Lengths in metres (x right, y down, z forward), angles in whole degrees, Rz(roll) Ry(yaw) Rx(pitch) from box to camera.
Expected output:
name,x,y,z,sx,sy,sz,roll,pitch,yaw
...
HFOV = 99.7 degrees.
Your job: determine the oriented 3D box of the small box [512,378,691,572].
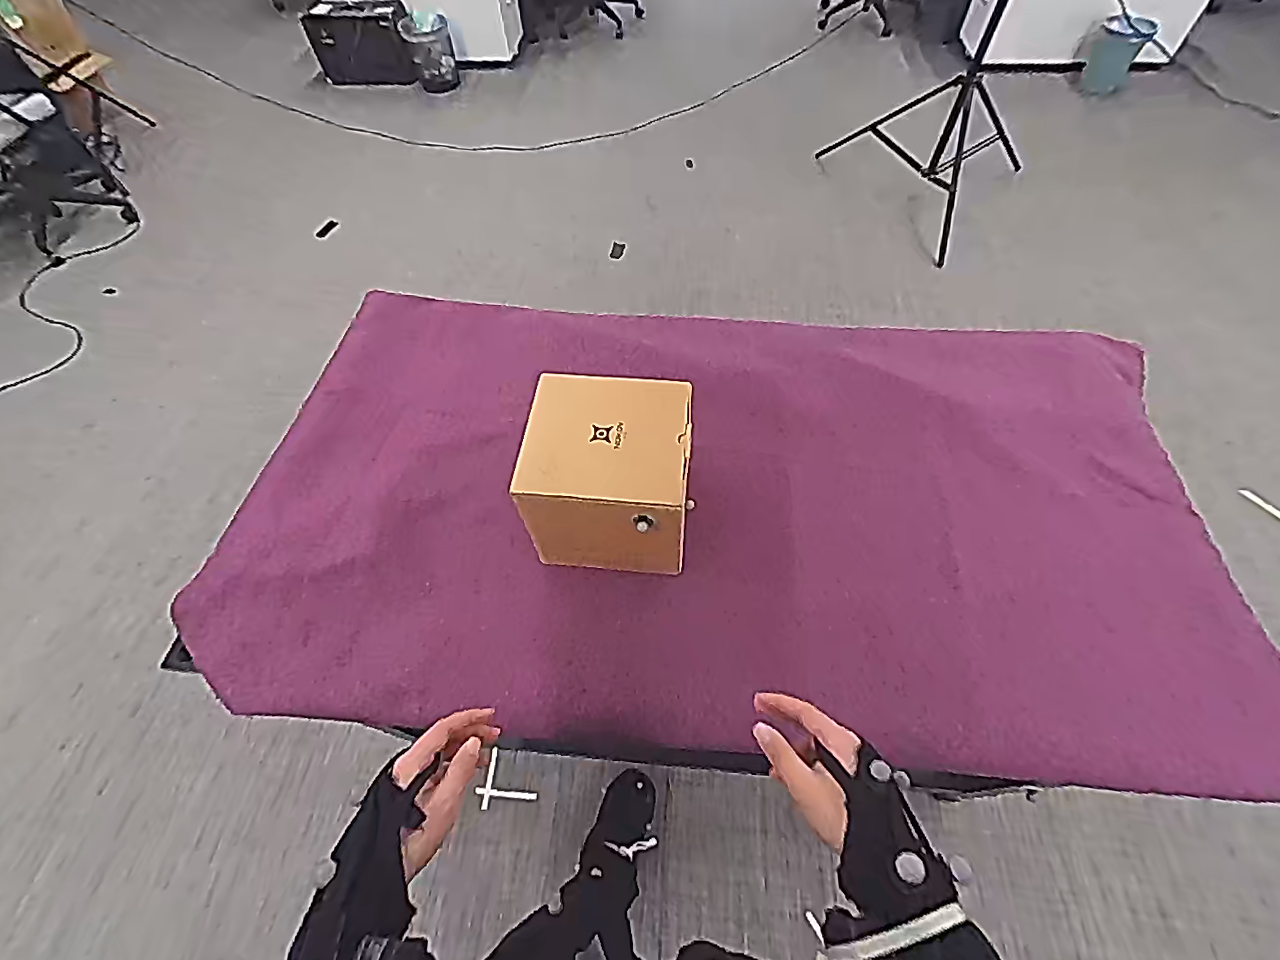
name,x,y,z,sx,sy,sz,roll,pitch,yaw
small box,-0.033,-0.001,0.645,0.179,0.176,0.168,4,56,4
